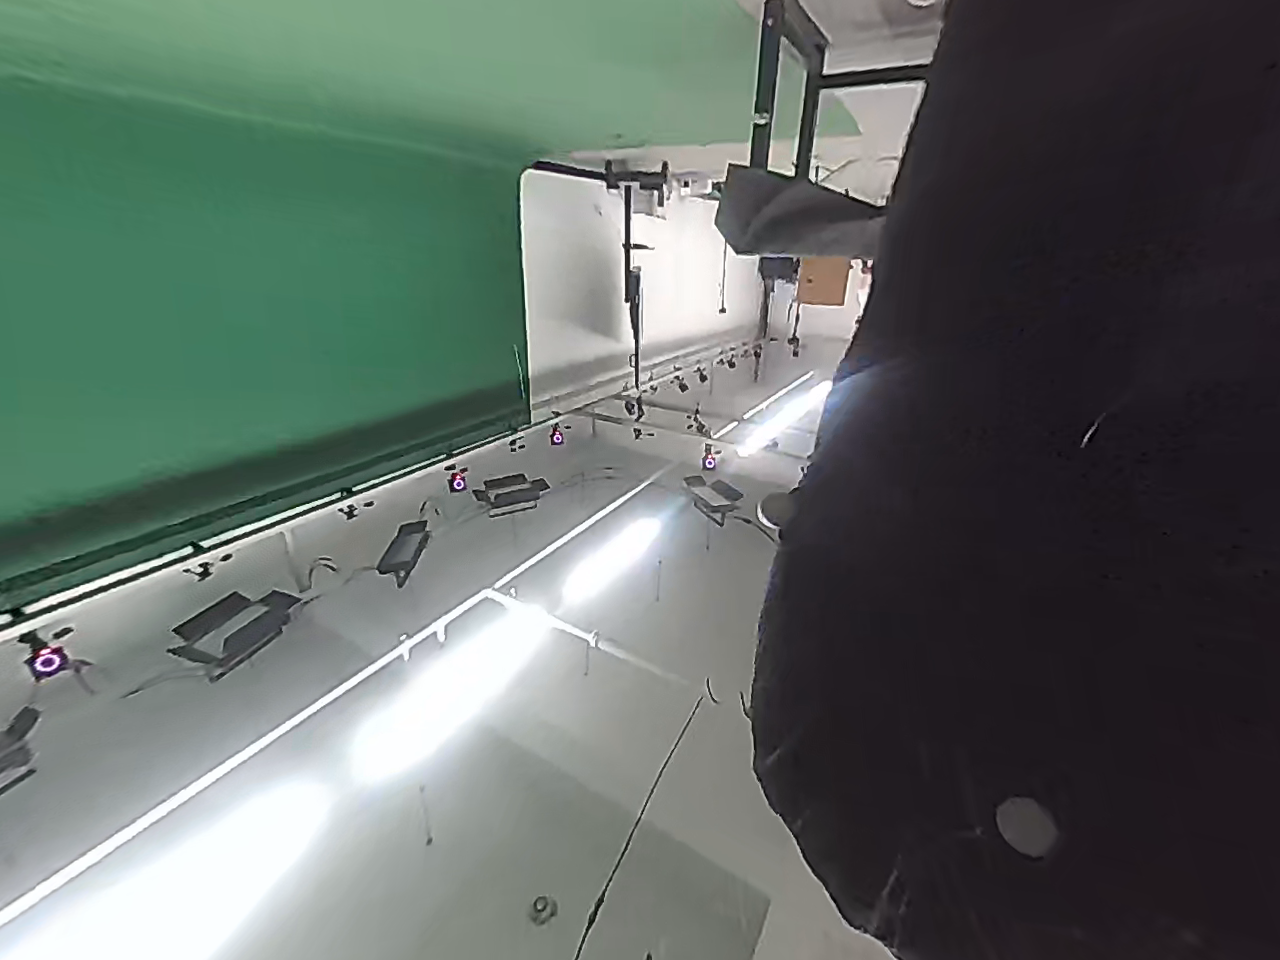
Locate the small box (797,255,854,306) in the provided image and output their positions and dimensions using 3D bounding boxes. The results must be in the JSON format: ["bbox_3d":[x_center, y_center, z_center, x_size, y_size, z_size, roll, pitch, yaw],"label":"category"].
[{"bbox_3d":[0.691,-0.752,2.028,0.179,0.176,0.168,7,-154,15],"label":"small box"}]
